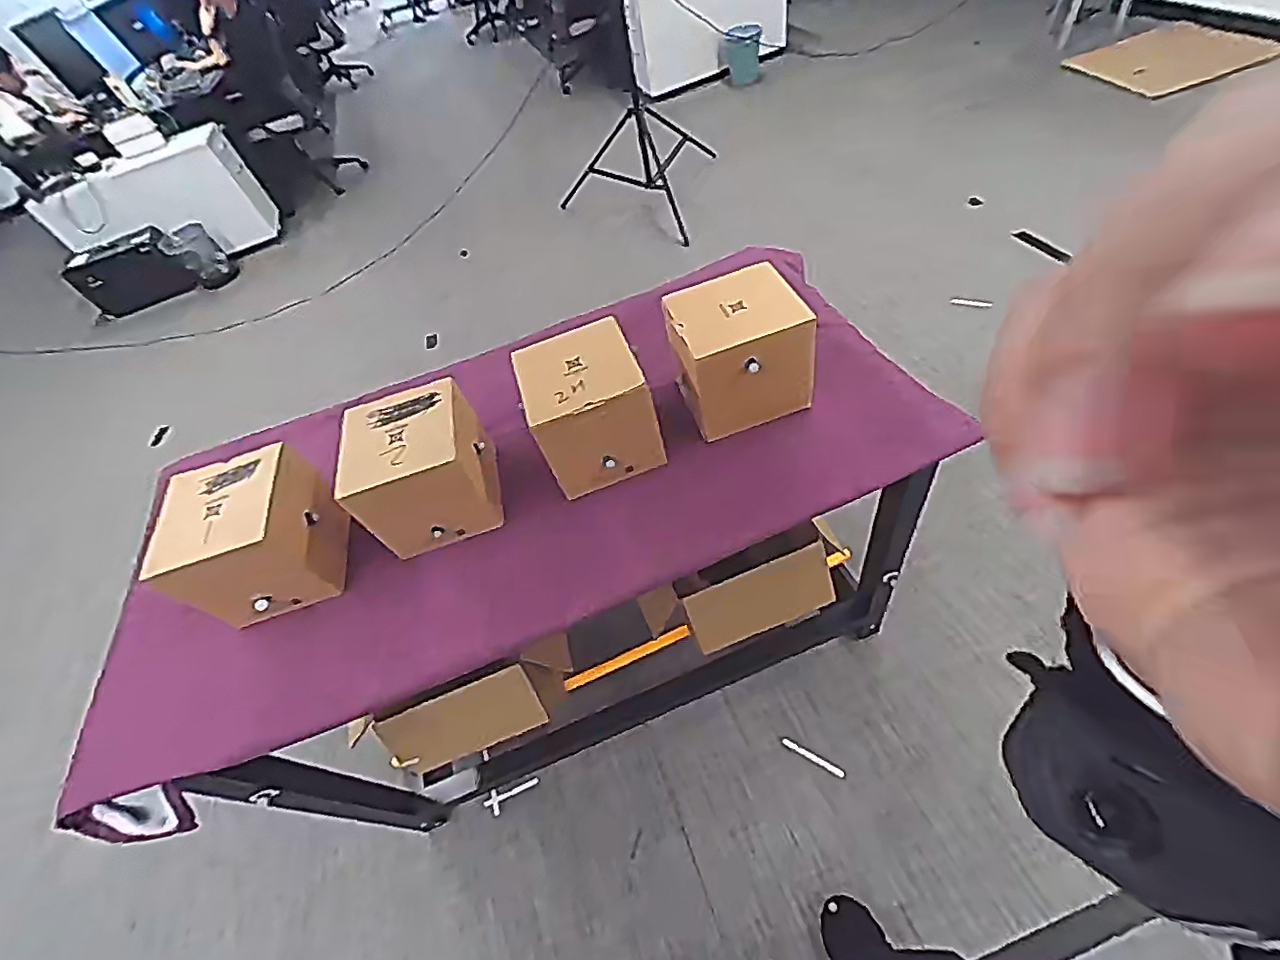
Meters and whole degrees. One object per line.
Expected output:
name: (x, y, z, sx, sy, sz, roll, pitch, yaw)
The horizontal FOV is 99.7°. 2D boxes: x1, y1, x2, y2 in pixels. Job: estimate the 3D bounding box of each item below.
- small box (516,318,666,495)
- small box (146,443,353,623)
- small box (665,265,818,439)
small box: (-0.072, -0.109, 0.822, 0.168, 0.176, 0.179, -21, 51, -1)
small box: (-0.548, 0.081, 0.792, 0.168, 0.176, 0.179, -18, 53, 0)
small box: (0.154, -0.193, 0.833, 0.179, 0.176, 0.168, -19, 50, 0)
